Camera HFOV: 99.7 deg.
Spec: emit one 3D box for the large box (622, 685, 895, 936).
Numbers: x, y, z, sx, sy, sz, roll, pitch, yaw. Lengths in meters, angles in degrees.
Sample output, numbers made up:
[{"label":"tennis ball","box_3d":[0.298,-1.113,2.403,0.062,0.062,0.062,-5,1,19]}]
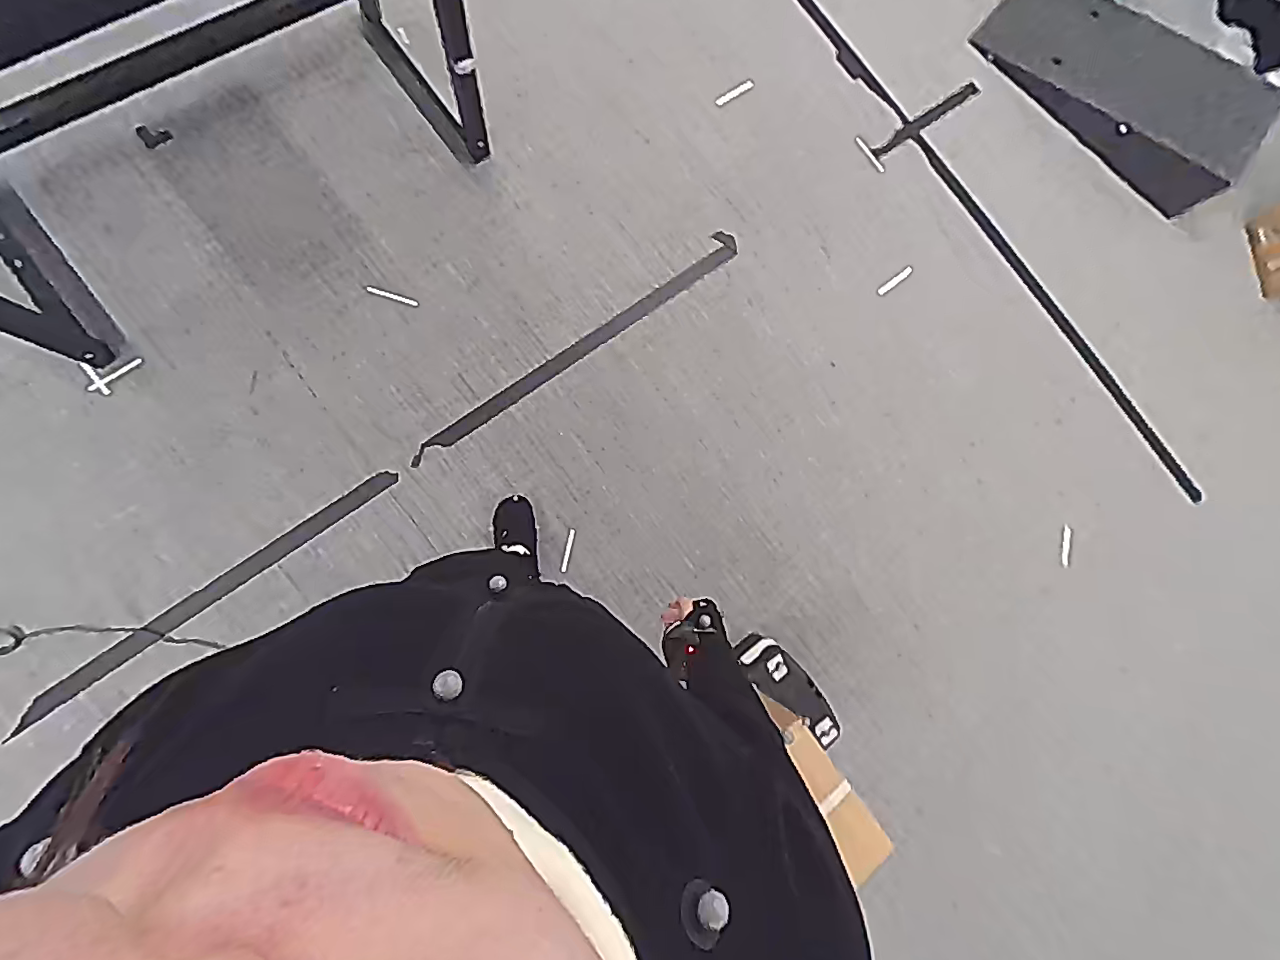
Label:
[{"label":"large box","box_3d":[0.221,0.712,1.137,0.408,0.320,0.320,-36,90,-12]}]
